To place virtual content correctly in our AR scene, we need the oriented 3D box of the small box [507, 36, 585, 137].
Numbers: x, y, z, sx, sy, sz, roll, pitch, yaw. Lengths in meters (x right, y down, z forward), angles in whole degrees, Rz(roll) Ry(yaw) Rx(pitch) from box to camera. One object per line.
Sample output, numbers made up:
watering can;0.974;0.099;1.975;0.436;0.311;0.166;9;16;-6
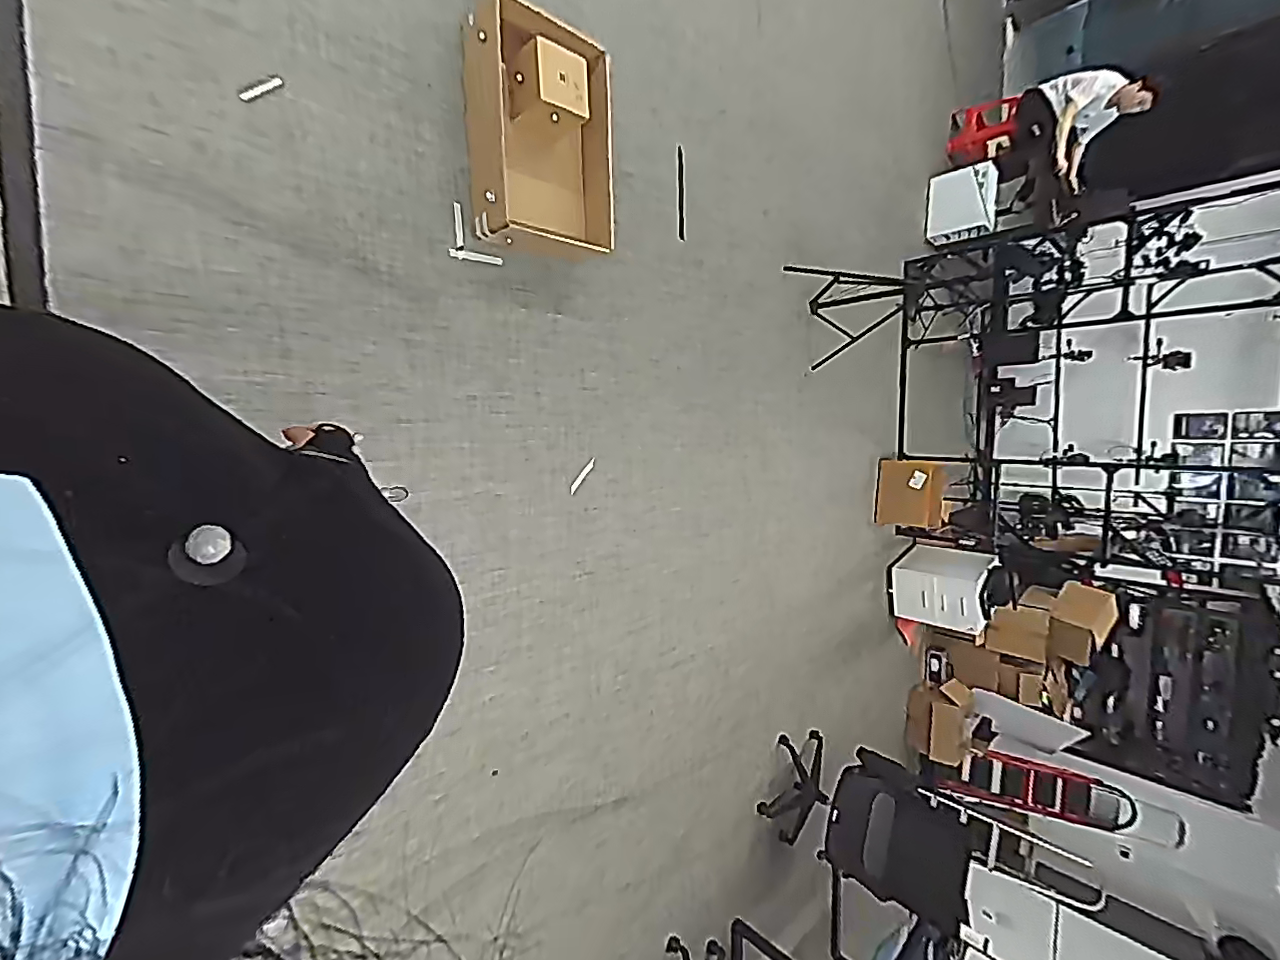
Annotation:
small box;-0.285;-1.157;1.609;0.179;0.176;0.168;-10;102;-44
